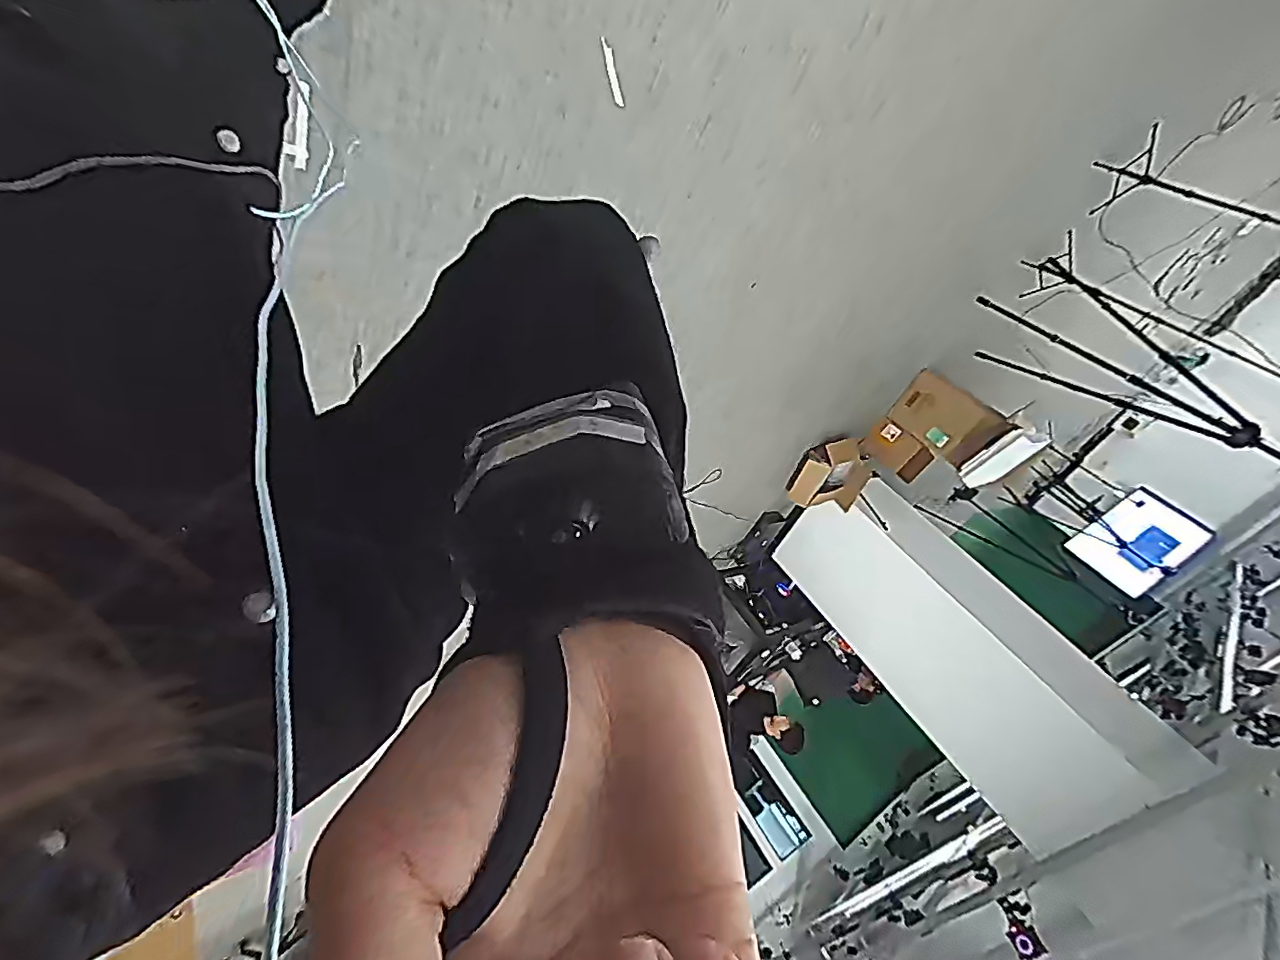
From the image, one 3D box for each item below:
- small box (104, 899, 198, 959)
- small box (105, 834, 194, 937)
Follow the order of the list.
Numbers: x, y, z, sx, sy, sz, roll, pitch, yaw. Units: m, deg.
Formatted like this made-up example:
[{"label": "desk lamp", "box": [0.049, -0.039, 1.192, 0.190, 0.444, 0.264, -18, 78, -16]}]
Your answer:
[{"label": "small box", "box": [-1.206, 1.189, 1.339, 0.168, 0.176, 0.179, -4, 134, -41]}, {"label": "small box", "box": [-1.290, 1.073, 1.420, 0.168, 0.176, 0.179, 1, 131, -43]}]
